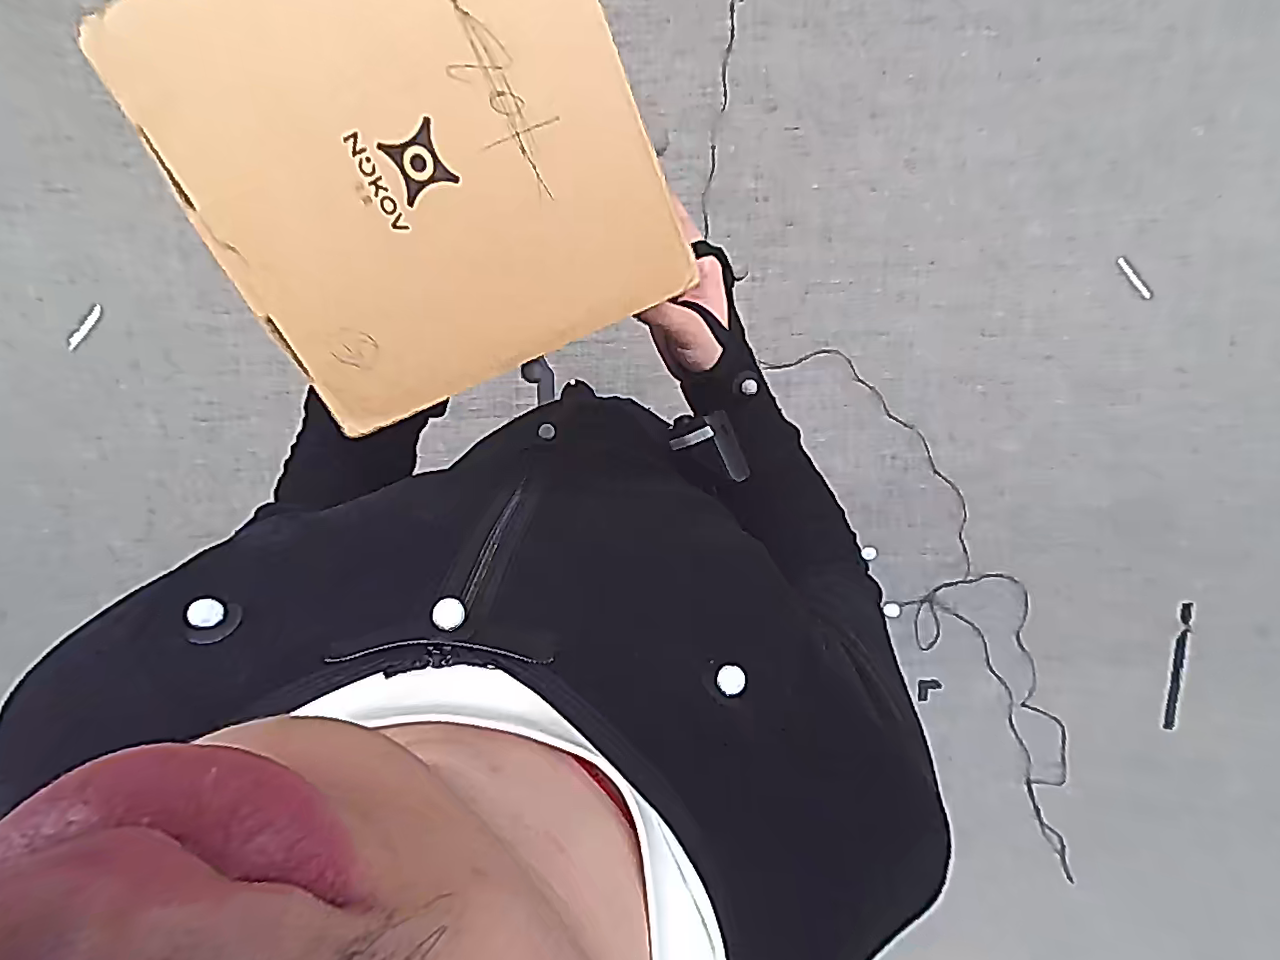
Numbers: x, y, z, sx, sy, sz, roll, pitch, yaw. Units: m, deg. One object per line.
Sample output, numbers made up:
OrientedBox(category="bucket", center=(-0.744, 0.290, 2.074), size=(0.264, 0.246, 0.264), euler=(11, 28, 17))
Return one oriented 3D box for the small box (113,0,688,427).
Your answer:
OrientedBox(category="small box", center=(-0.088, -0.156, 0.290), size=(0.179, 0.176, 0.168), euler=(-24, 113, 10))
